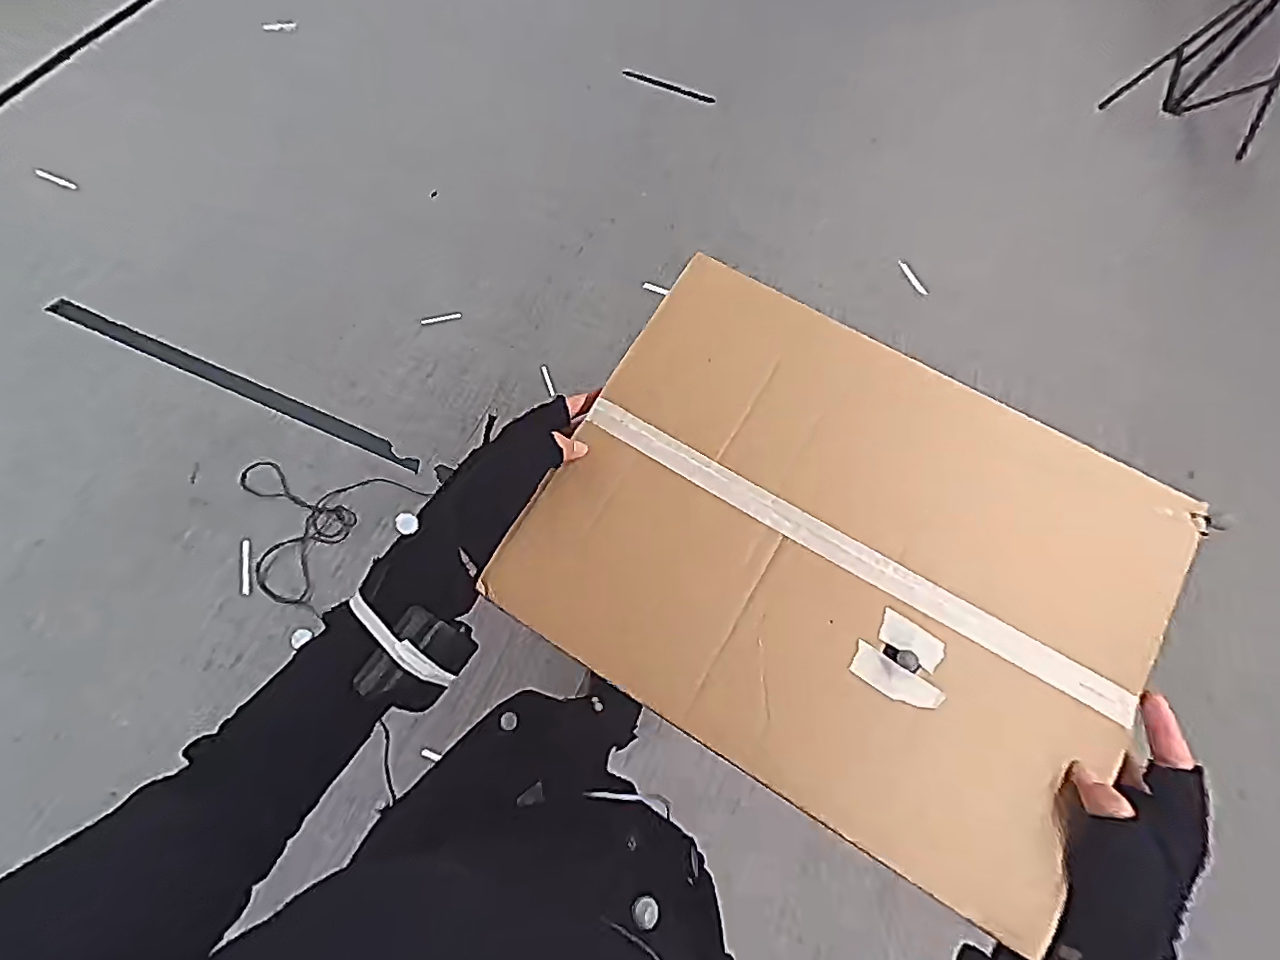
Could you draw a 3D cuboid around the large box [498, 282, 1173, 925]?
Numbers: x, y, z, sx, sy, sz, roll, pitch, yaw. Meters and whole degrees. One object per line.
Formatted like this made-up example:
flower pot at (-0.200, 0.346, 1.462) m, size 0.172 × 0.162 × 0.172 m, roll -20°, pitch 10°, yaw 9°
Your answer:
large box at (0.144, 0.090, 0.534) m, size 0.408 × 0.320 × 0.320 m, roll 31°, pitch 79°, yaw 9°
